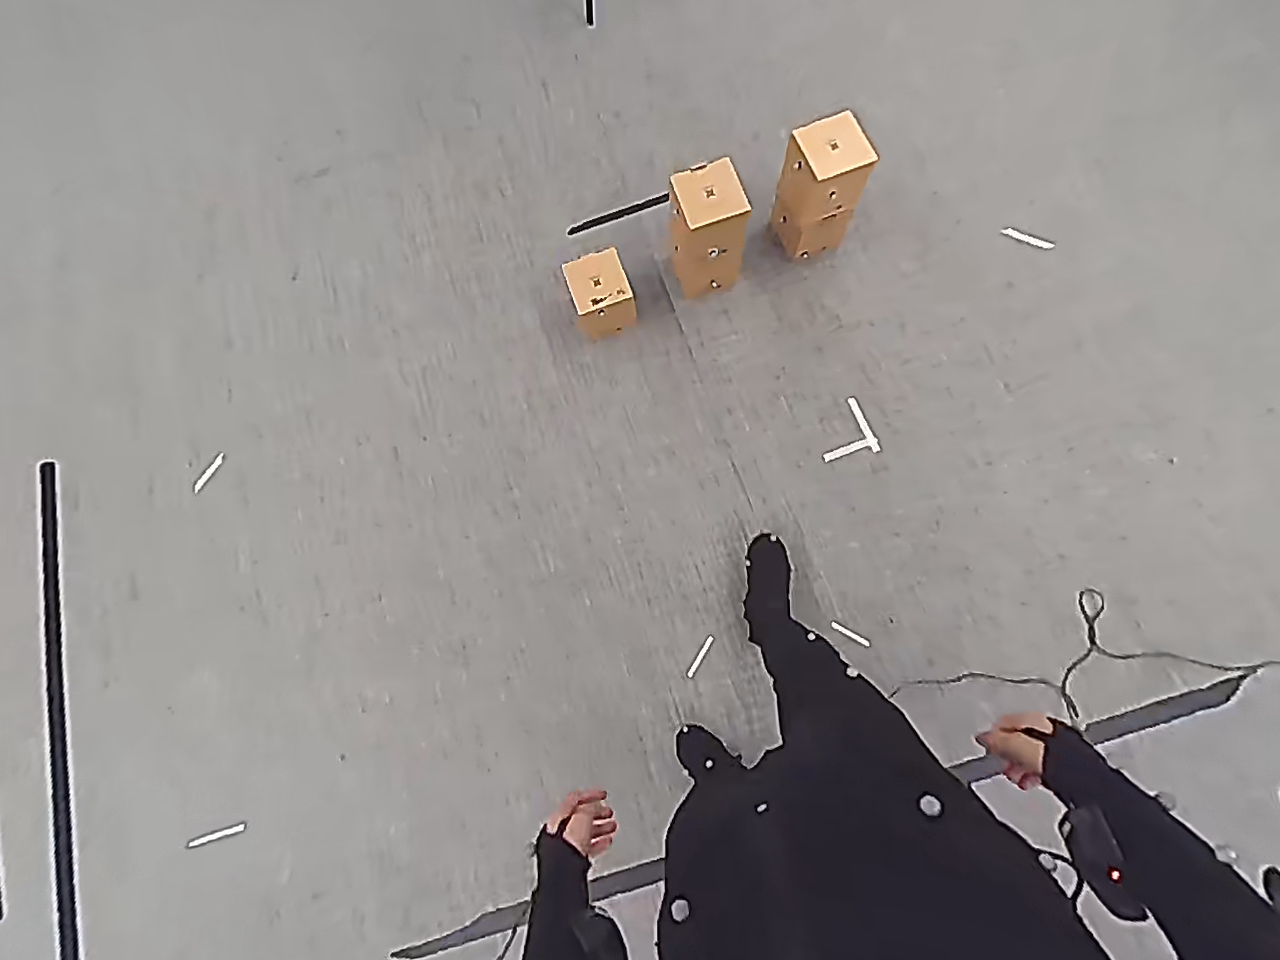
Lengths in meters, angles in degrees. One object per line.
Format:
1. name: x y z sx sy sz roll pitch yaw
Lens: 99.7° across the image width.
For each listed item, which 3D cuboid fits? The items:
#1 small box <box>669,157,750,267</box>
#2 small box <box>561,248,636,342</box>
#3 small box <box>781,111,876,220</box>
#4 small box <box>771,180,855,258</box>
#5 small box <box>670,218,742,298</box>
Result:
1. small box: 0.181 -0.711 1.450 0.168 0.176 0.179 -18 75 0
2. small box: -0.119 -0.541 1.602 0.168 0.176 0.179 -19 75 0
3. small box: 0.500 -0.835 1.459 0.168 0.176 0.179 -21 75 -1
4. small box: 0.509 -0.795 1.617 0.168 0.176 0.179 -21 75 -1
5. small box: 0.190 -0.678 1.610 0.168 0.176 0.179 -18 76 0
